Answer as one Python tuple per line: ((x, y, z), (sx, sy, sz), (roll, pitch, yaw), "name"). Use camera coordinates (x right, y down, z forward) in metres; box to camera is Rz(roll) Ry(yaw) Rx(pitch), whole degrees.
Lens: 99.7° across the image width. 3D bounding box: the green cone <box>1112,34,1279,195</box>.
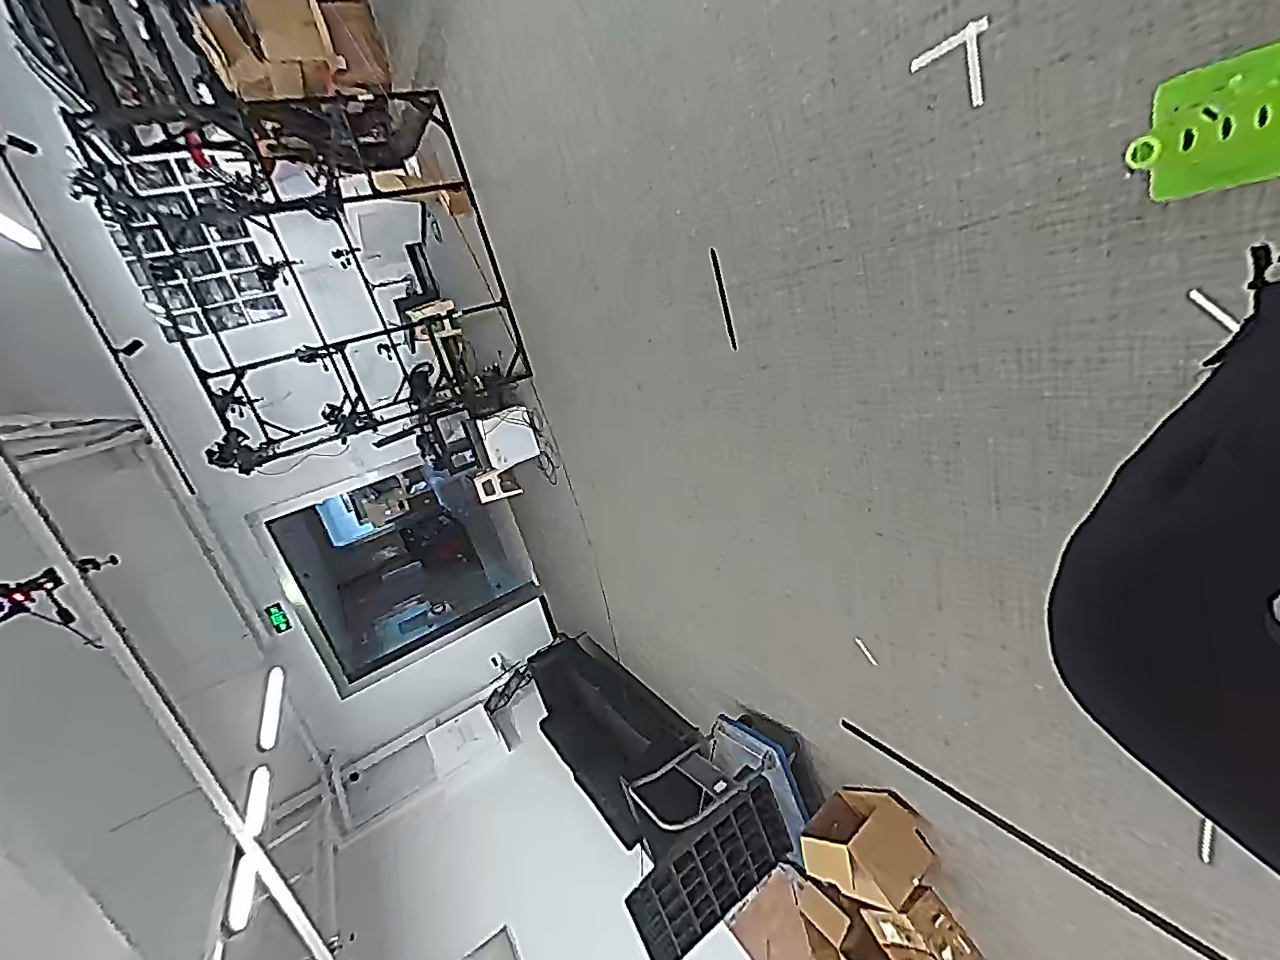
((0.850, -0.544, 0.840), (0.202, 0.368, 0.200), (18, 128, 59), "green cone")
